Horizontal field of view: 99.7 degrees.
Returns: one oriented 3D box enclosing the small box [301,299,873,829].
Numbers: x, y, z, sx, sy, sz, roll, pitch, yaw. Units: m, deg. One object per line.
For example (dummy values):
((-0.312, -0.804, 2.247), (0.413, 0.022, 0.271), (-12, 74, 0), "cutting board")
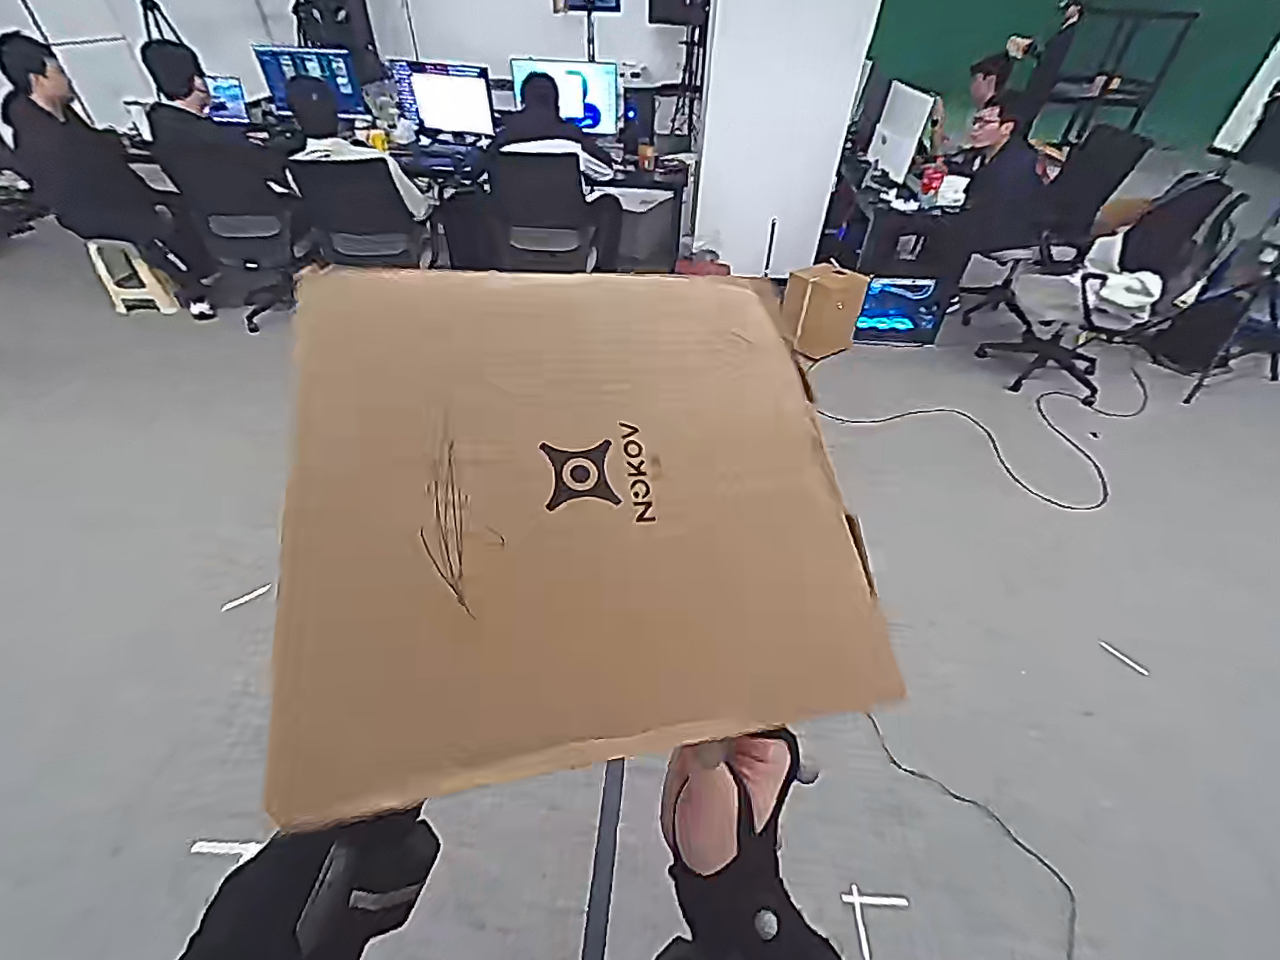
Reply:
((-0.036, 0.038, 0.258), (0.179, 0.176, 0.168), (-9, 66, -16), "small box")
